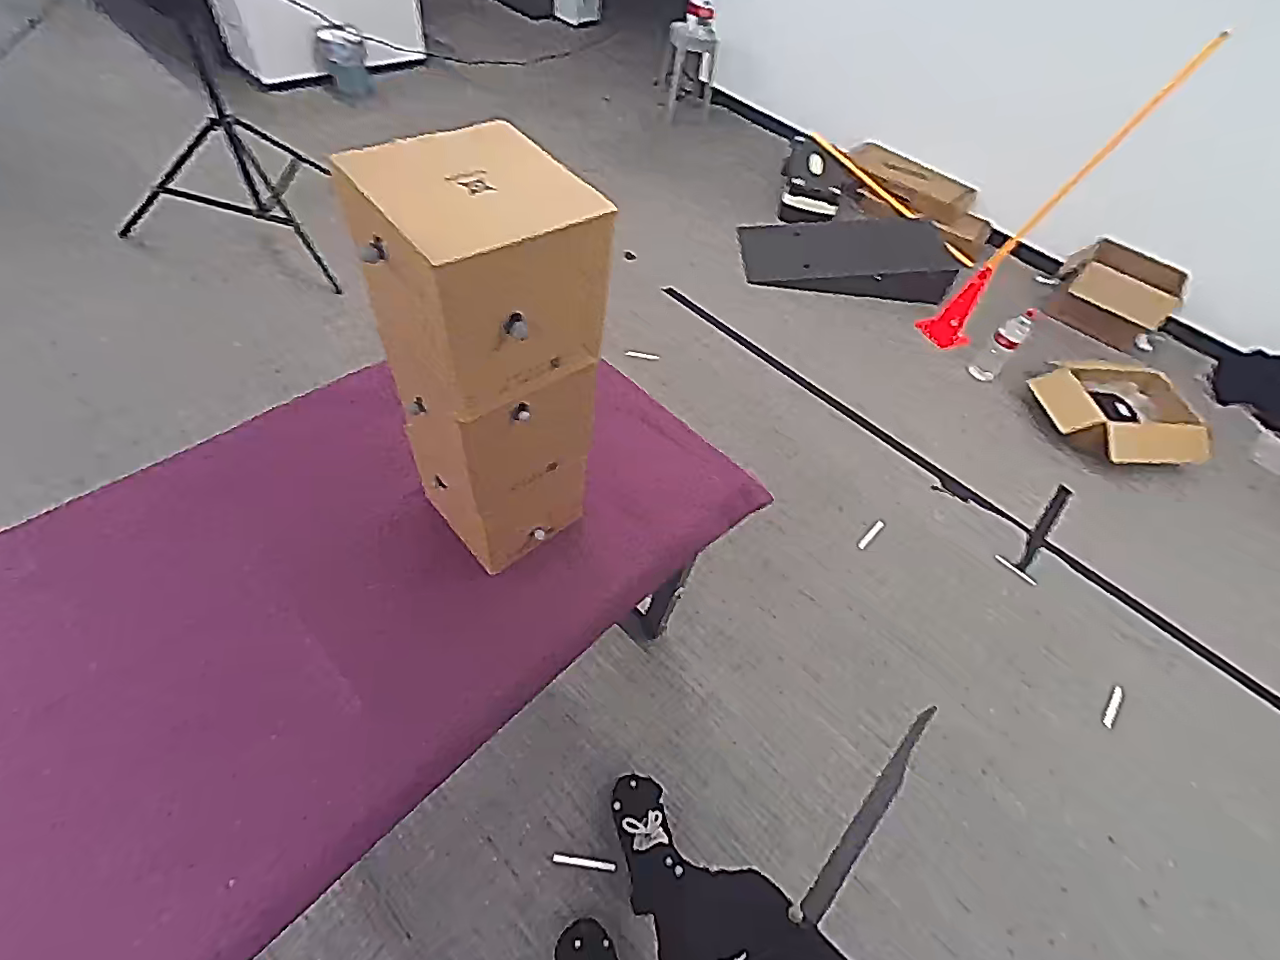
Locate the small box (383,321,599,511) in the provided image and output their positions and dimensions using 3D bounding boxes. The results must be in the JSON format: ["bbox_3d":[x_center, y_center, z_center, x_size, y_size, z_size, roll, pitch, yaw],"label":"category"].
[{"bbox_3d":[-0.168,-0.097,0.635,0.168,0.176,0.179,-32,64,-27],"label":"small box"}]

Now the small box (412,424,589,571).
[{"bbox_3d":[-0.192,-0.005,0.768,0.168,0.176,0.179,-34,66,-28],"label":"small box"}]

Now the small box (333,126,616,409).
[{"bbox_3d":[-0.141,-0.189,0.502,0.168,0.176,0.179,-32,64,-27],"label":"small box"}]
